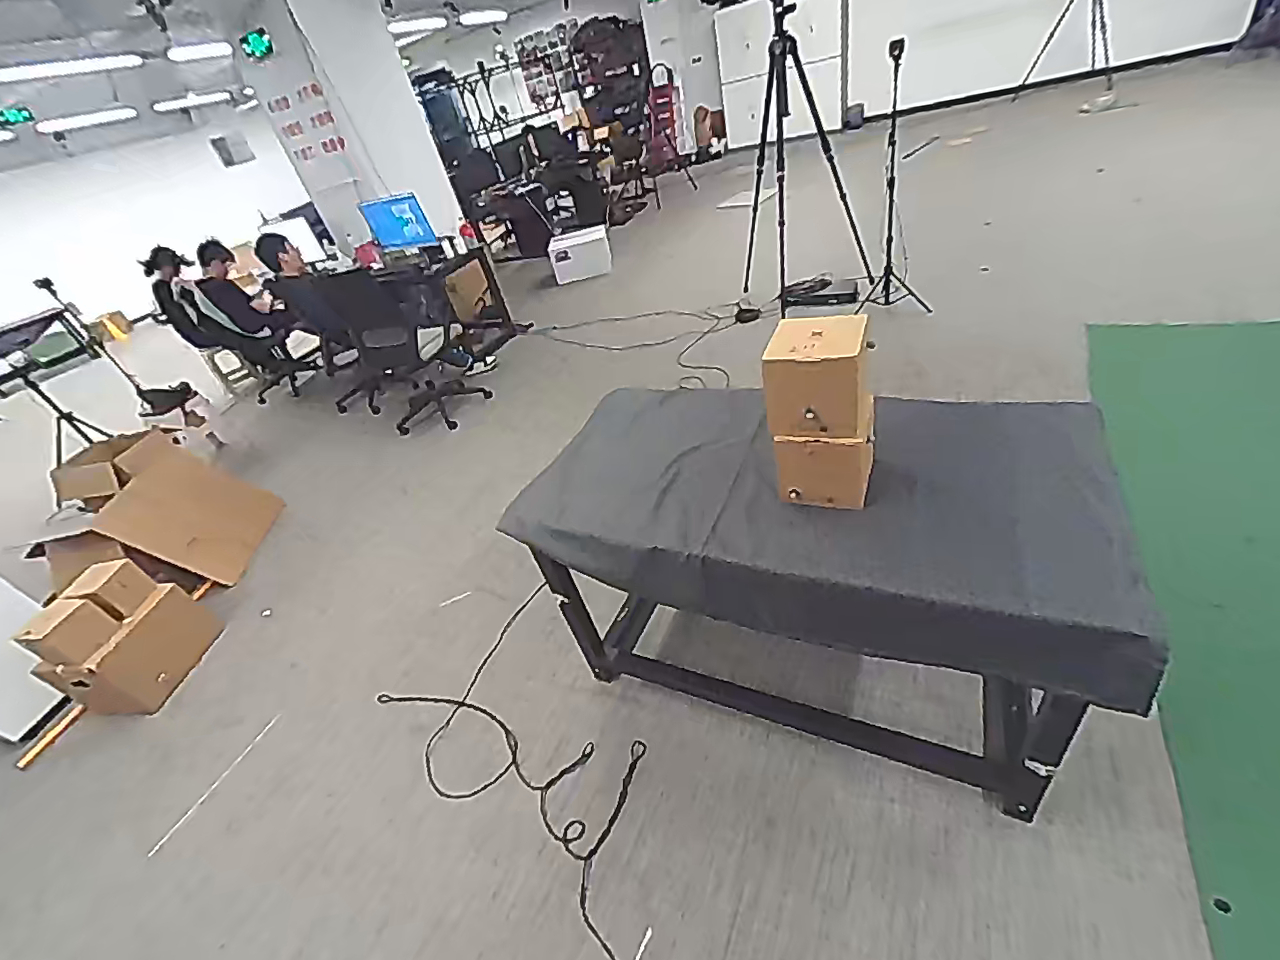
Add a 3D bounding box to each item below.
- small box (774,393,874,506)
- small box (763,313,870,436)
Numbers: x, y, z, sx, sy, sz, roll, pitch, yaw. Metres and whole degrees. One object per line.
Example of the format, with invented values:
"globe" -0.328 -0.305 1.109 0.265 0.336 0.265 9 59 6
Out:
"small box" 0.387 -0.065 1.120 0.168 0.176 0.179 6 41 28
"small box" 0.343 -0.202 1.038 0.168 0.176 0.179 4 42 27
